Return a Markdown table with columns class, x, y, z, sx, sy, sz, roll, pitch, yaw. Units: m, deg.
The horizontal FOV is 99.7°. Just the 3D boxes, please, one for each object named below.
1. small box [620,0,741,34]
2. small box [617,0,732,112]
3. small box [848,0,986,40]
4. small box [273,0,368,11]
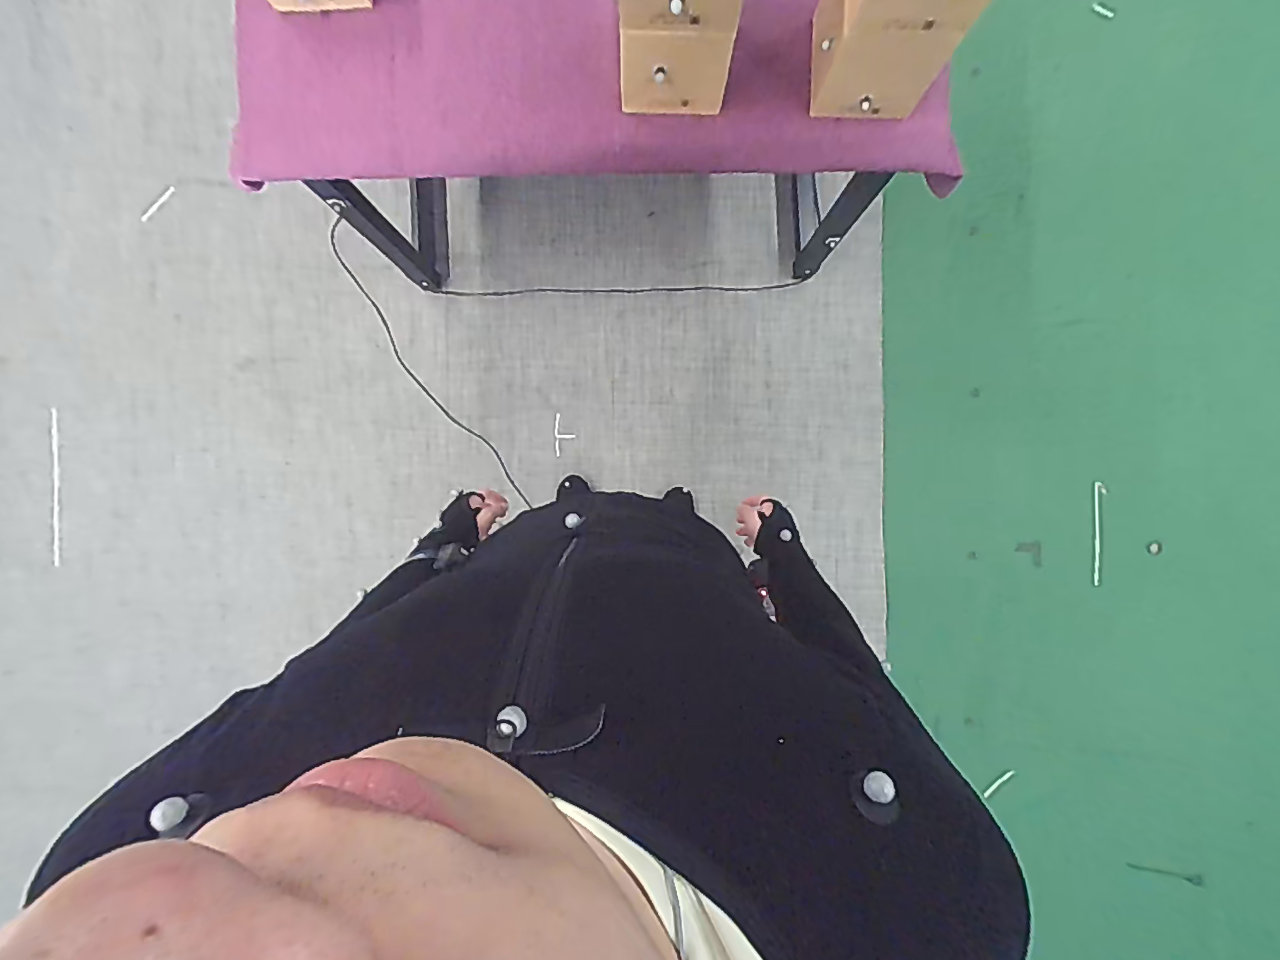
| class | x | y | z | sx | sy | sz | roll | pitch | yaw |
| --- | --- | --- | --- | --- | --- | --- | --- | --- | --- |
| small box | 0.055 | -0.717 | 0.678 | 0.168 | 0.176 | 0.179 | 2 | 89 | 0 |
| small box | 0.053 | -0.711 | 0.842 | 0.168 | 0.176 | 0.179 | 1 | 88 | 0 |
| small box | 0.372 | -0.707 | 0.676 | 0.168 | 0.176 | 0.179 | 2 | 88 | 1 |
| small box | -0.545 | -0.887 | 0.839 | 0.168 | 0.176 | 0.179 | -4 | 90 | 0 |
